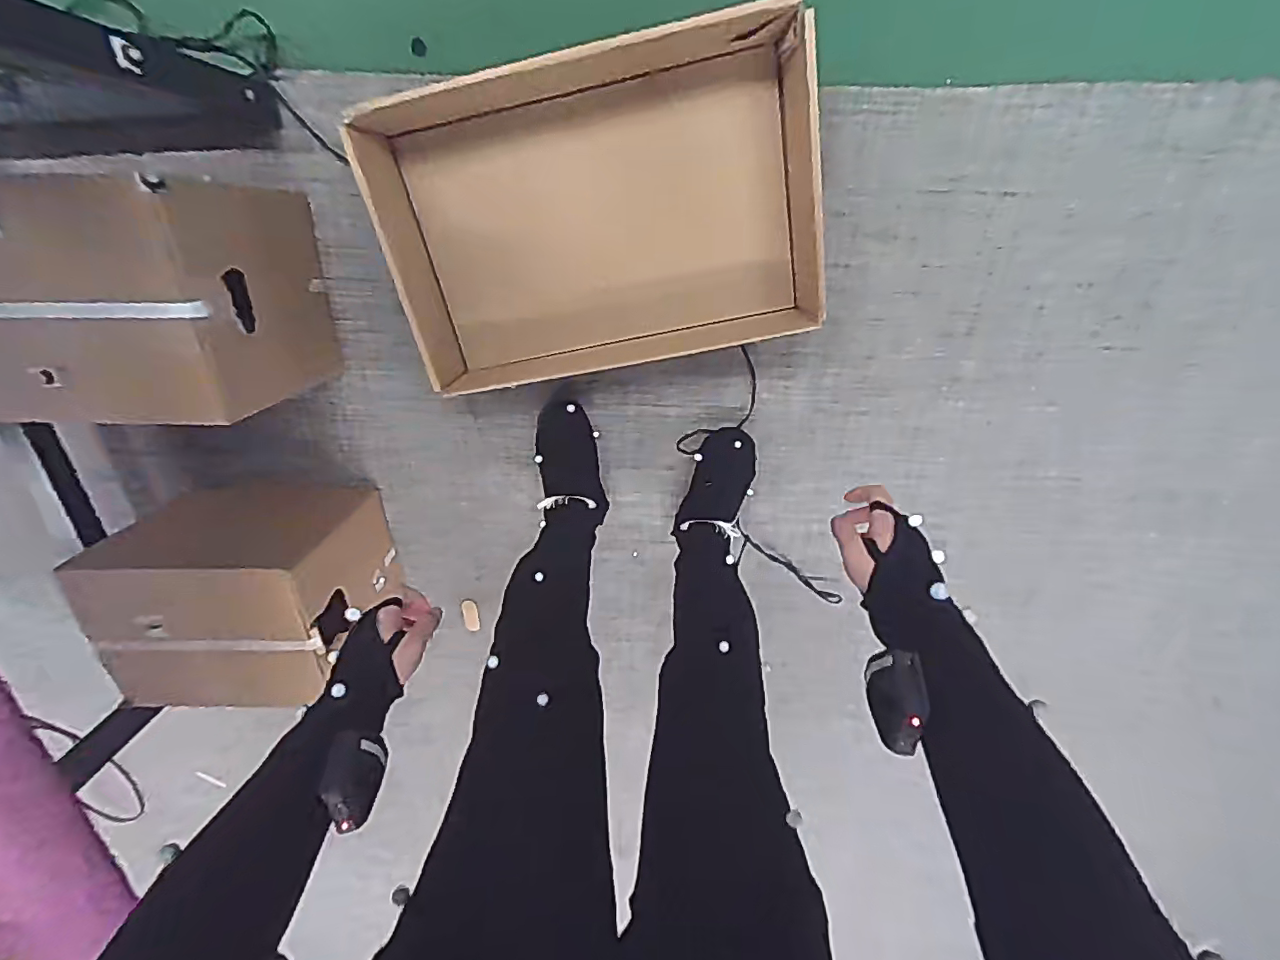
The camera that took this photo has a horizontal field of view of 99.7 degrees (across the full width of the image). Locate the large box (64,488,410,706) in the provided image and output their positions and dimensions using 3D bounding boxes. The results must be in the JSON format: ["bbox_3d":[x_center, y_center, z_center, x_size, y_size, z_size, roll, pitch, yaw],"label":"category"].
[{"bbox_3d":[-0.744,0.220,1.078,0.408,0.320,0.320,-1,114,3],"label":"large box"}]
